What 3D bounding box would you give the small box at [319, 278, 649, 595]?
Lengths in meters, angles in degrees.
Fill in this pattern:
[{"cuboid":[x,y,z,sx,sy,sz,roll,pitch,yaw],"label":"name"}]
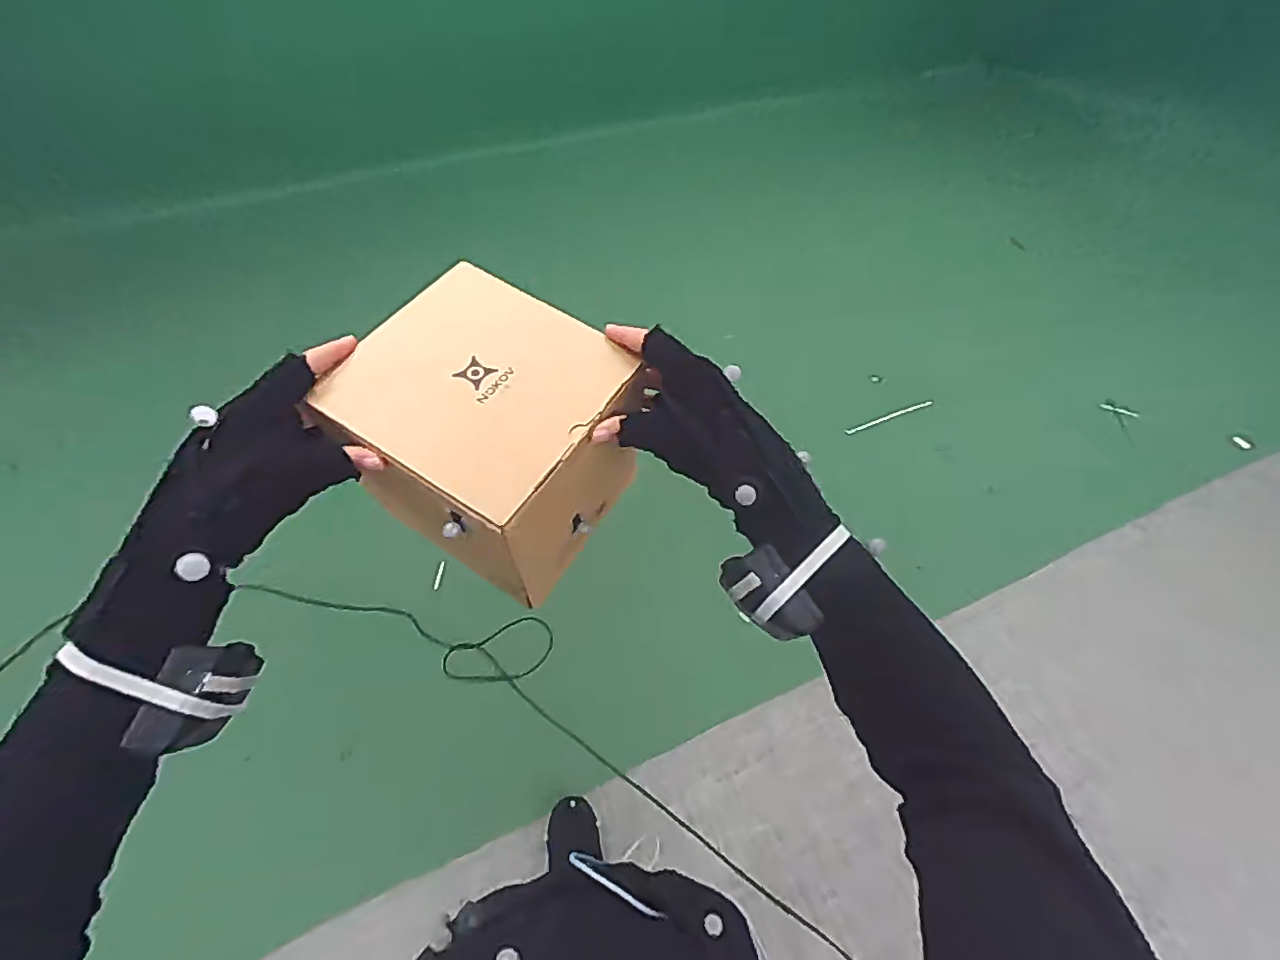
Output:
[{"cuboid":[-0.114,-0.027,0.458,0.179,0.176,0.168,31,63,11],"label":"small box"}]
